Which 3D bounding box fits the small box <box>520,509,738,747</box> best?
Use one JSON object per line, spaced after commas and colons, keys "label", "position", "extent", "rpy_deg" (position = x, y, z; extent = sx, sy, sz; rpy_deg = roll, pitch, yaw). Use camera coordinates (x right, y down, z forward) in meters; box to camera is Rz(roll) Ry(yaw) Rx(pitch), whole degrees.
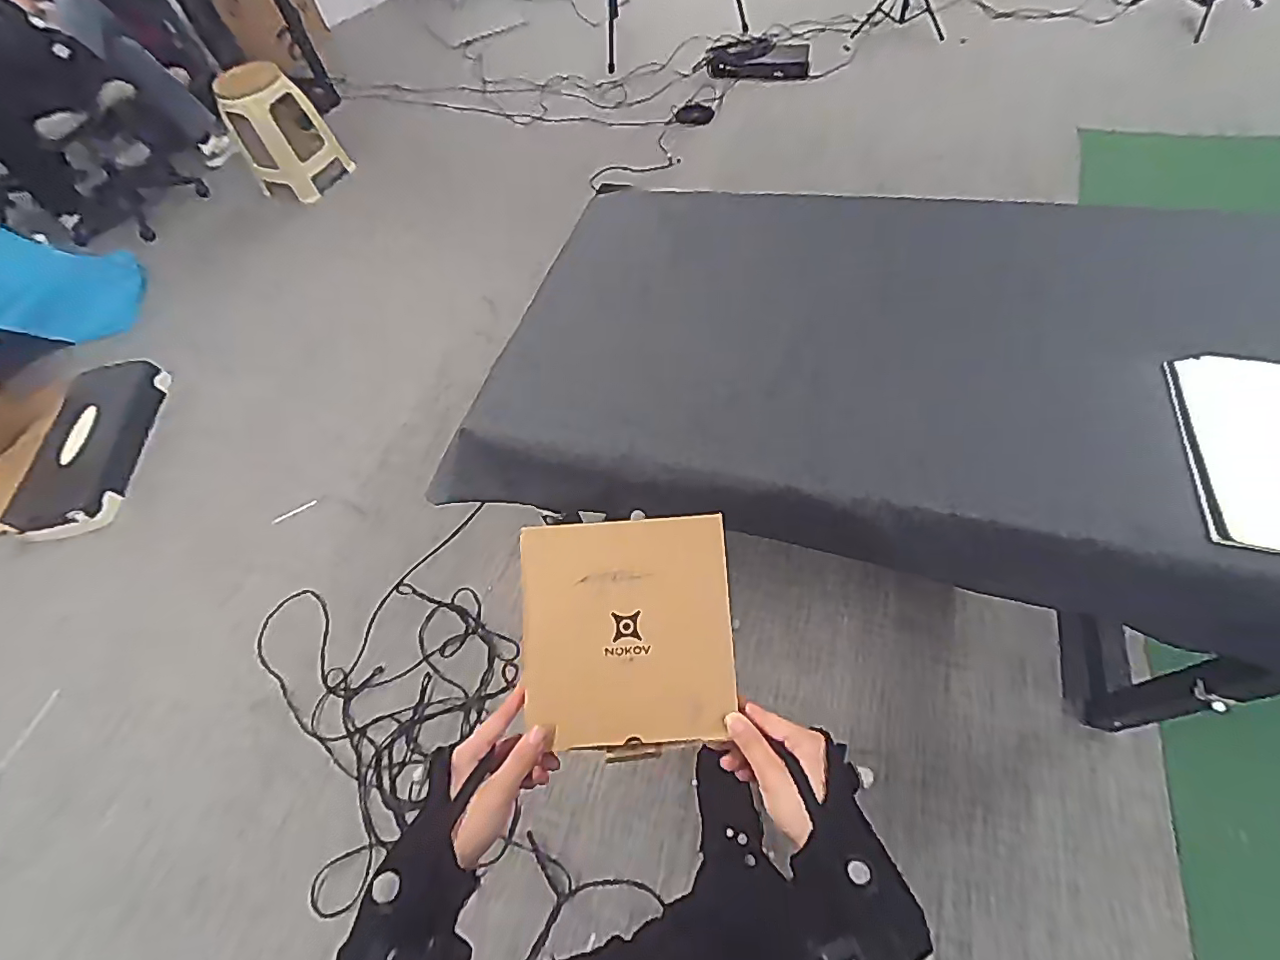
{"label": "small box", "position": [-0.009, 0.125, 0.502], "extent": [0.168, 0.176, 0.179], "rpy_deg": [-4, 81, 0]}
